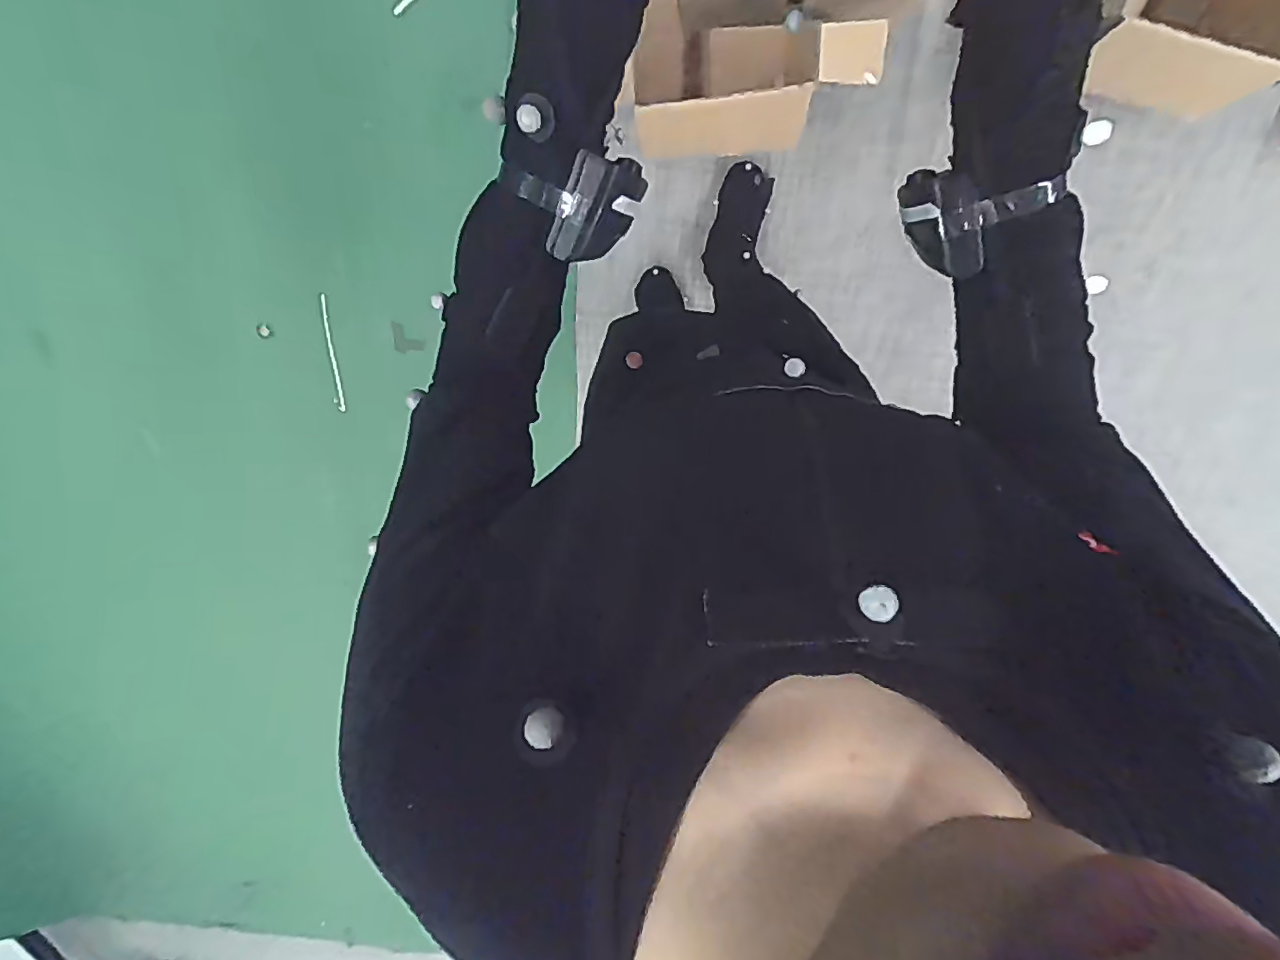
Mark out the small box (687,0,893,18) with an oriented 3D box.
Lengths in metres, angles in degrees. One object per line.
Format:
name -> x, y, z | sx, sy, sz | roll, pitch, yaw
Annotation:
small box -> 0.102, -0.398, 0.305 | 0.168, 0.176, 0.179 | 3, 118, 6
